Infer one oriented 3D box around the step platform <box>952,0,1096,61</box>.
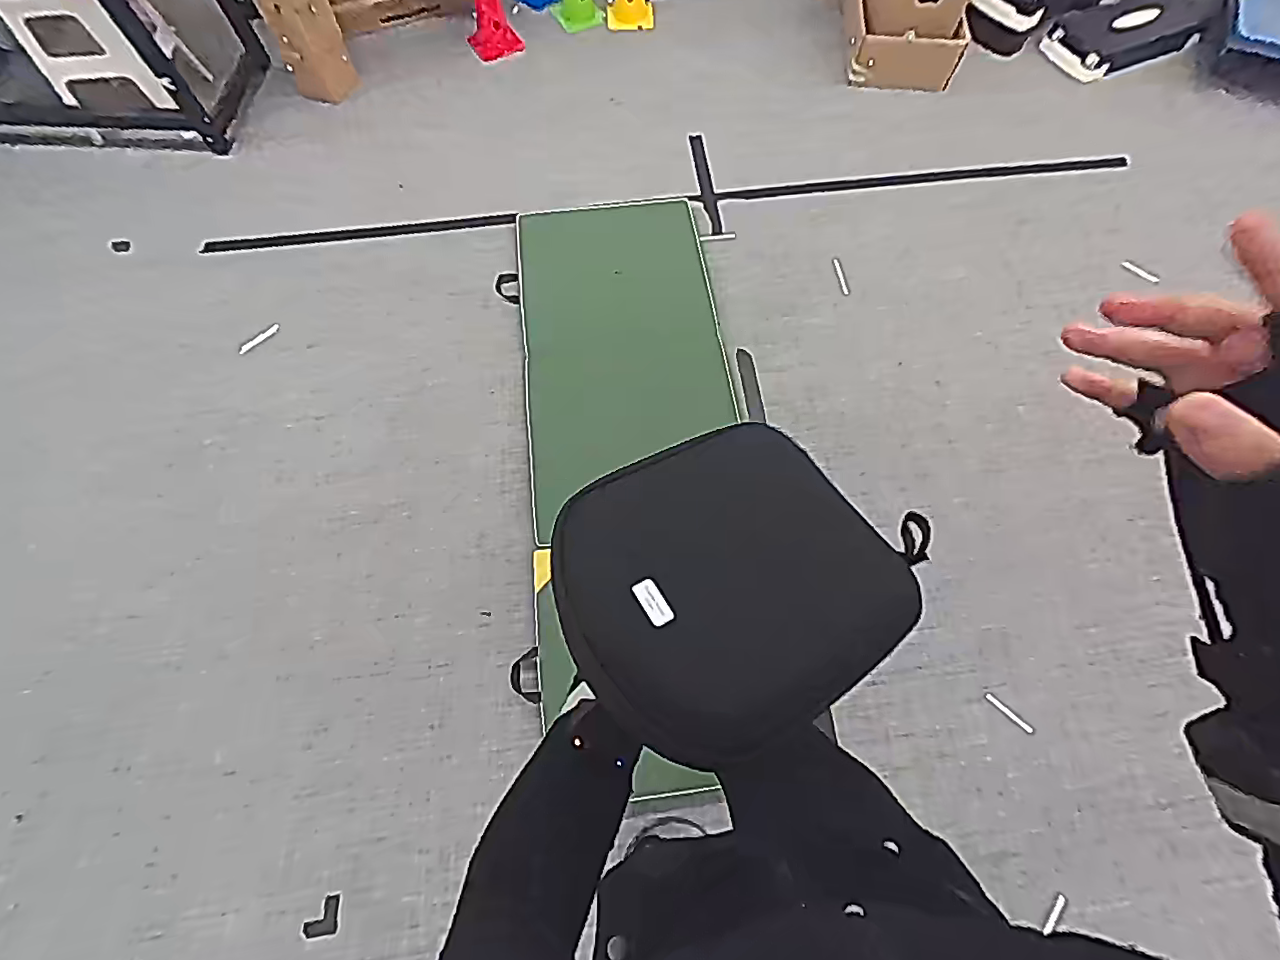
[{"bbox_3d":[1.692,-2.072,2.314,0.684,0.204,0.286,-34,71,-13],"label":"step platform"}]
